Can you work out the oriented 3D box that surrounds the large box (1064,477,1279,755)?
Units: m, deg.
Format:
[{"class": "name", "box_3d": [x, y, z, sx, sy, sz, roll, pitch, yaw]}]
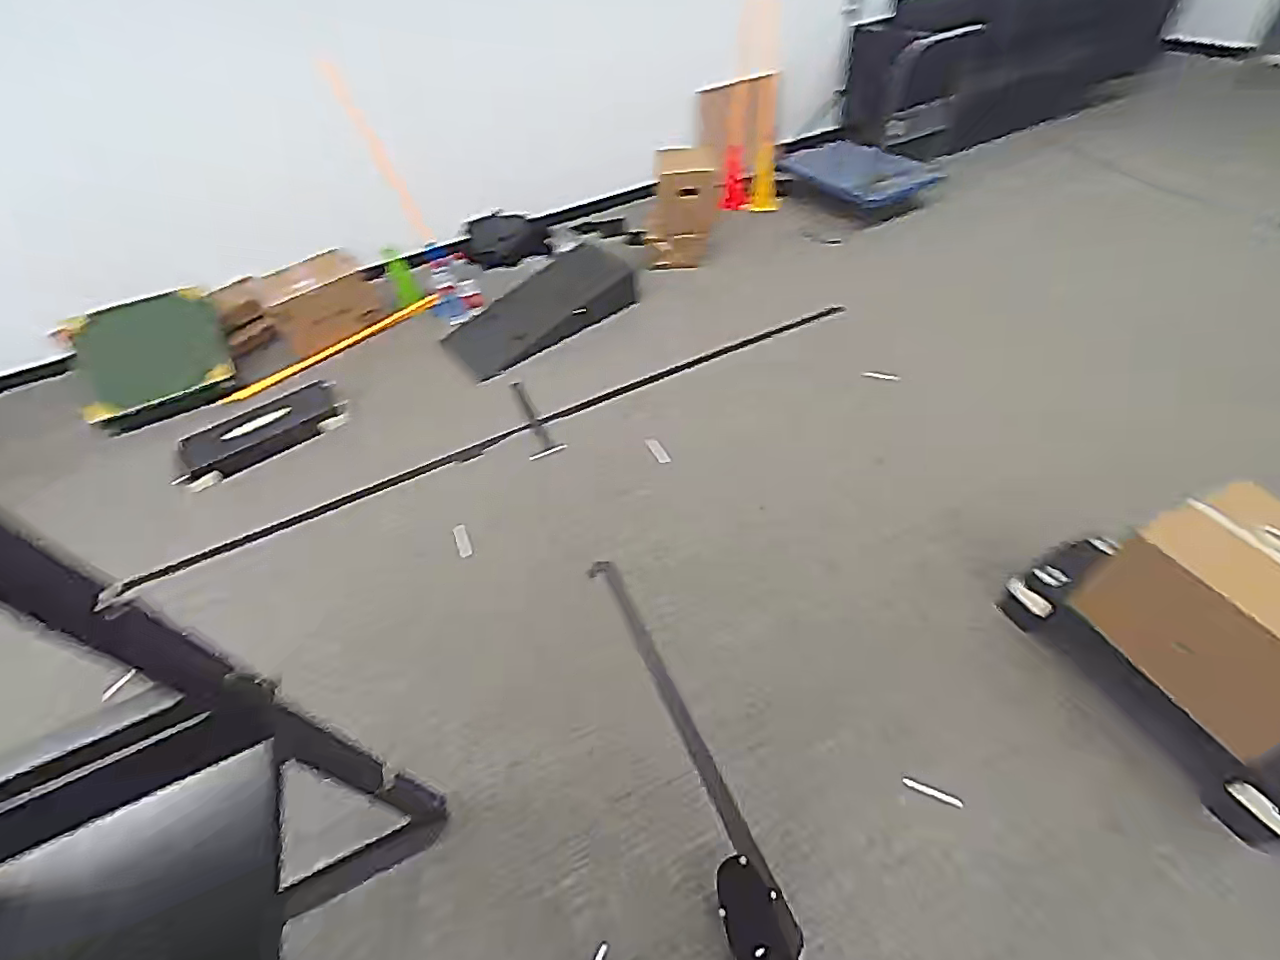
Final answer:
[{"class": "large box", "box_3d": [1.239, 0.273, 1.130, 0.320, 0.320, 0.408, -21, 47, -11]}]

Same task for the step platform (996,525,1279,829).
[{"class": "step platform", "box_3d": [1.248, 0.426, 1.315, 0.286, 0.204, 0.684, -19, 47, -9]}]
